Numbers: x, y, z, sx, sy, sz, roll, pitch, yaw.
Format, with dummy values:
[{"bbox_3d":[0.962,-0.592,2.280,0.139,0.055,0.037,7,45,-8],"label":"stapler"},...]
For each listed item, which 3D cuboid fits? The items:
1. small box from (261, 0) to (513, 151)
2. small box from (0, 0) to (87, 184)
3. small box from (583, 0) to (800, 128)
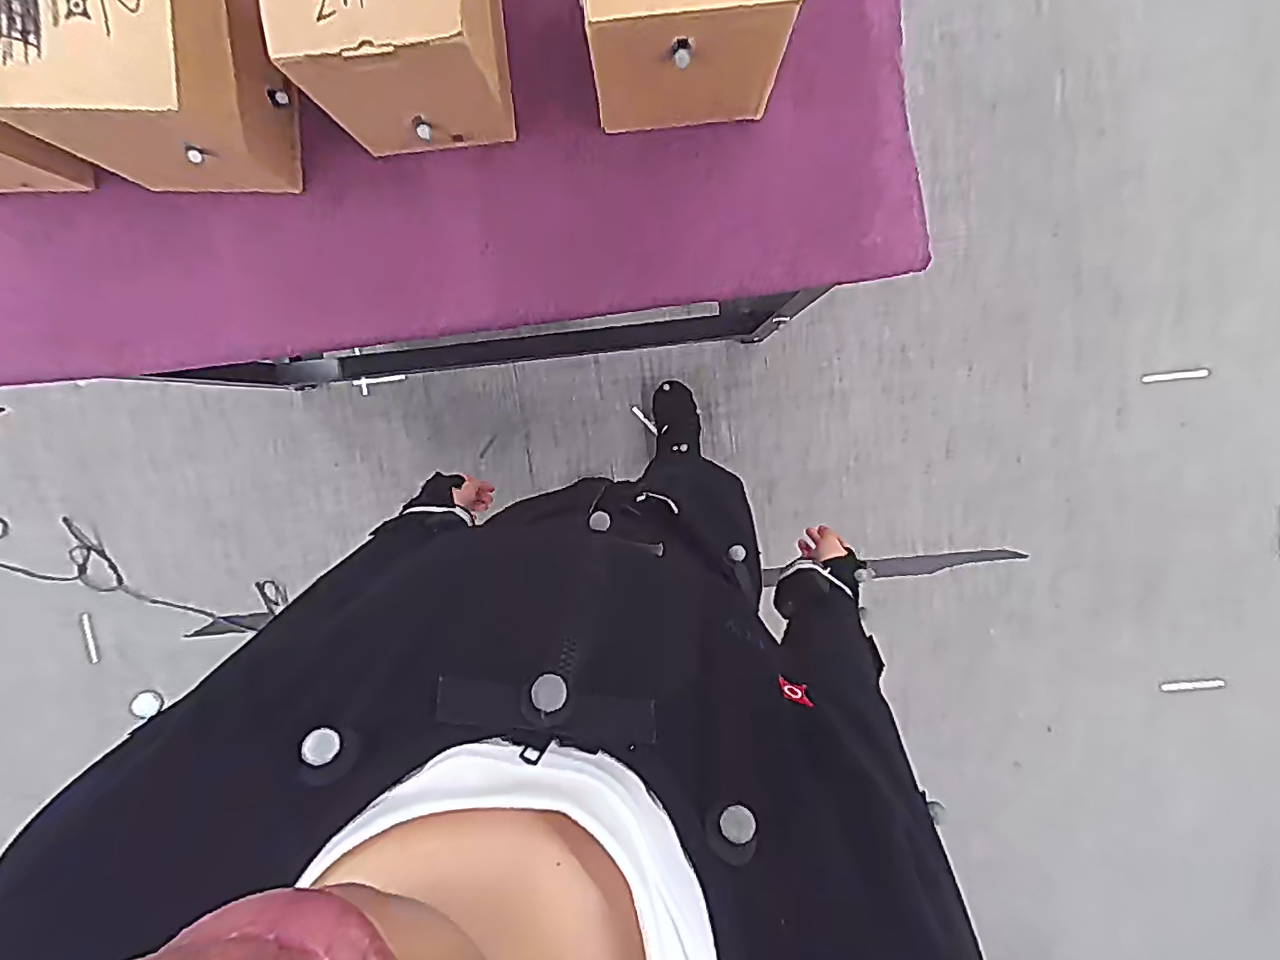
[{"bbox_3d":[-0.228,-0.450,0.512,0.168,0.176,0.179,-5,96,3],"label":"small box"},{"bbox_3d":[-0.704,-0.409,0.527,0.168,0.176,0.179,0,97,1],"label":"small box"},{"bbox_3d":[0.039,-0.463,0.504,0.179,0.176,0.168,-4,95,3],"label":"small box"}]
